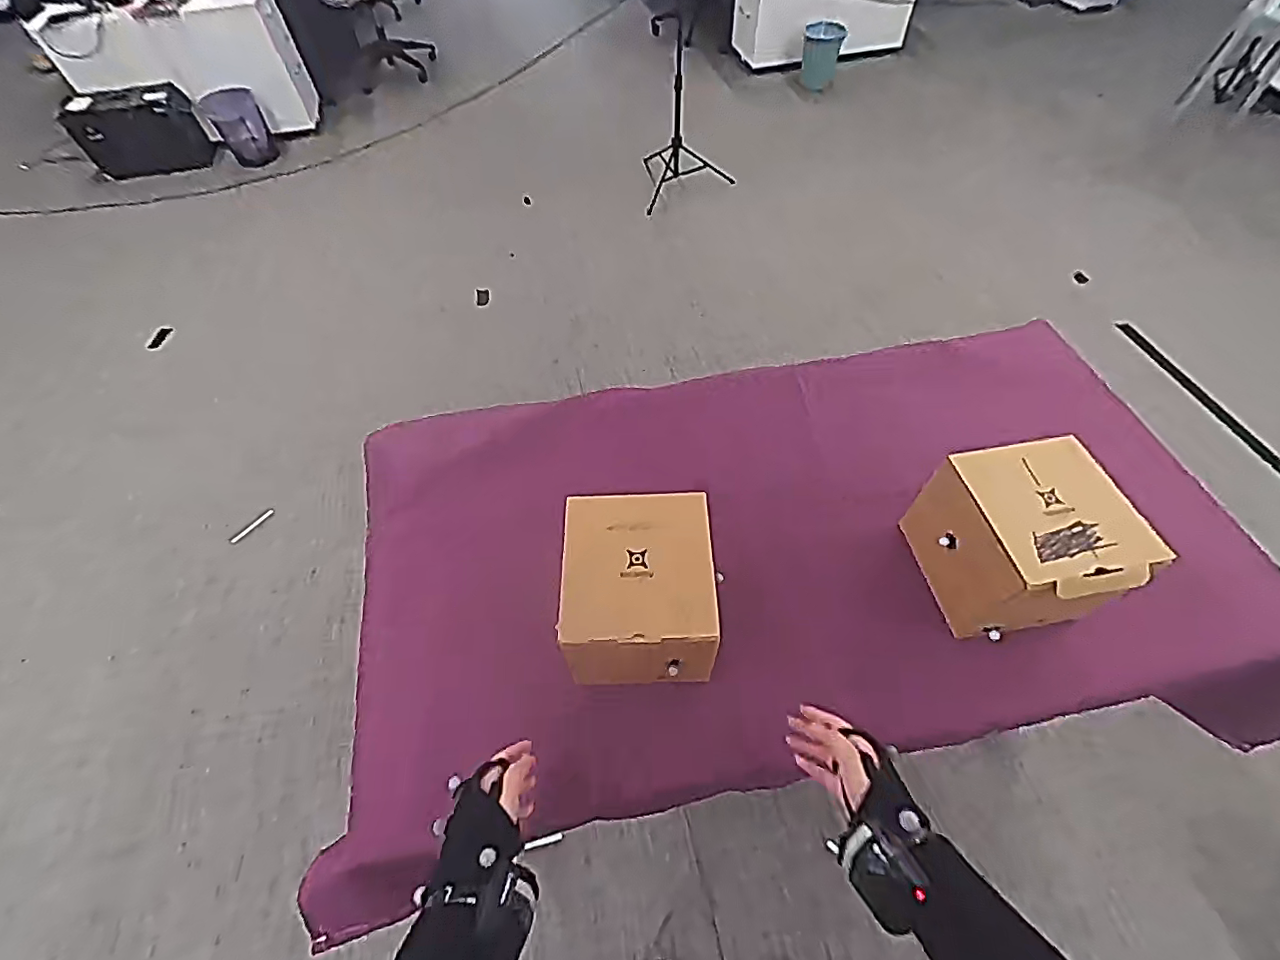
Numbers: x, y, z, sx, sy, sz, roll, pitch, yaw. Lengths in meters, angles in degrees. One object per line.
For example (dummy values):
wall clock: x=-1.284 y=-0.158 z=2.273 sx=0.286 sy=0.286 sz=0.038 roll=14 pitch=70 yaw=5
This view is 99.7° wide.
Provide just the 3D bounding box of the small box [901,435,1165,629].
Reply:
small box: x=0.459 y=0.073 z=0.670 sx=0.168 sy=0.176 sz=0.179 roll=-9 pitch=55 yaw=-3

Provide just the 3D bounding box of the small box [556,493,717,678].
small box: x=-0.001 y=0.134 z=0.650 sx=0.168 sy=0.176 sz=0.179 roll=-2 pitch=56 yaw=0
